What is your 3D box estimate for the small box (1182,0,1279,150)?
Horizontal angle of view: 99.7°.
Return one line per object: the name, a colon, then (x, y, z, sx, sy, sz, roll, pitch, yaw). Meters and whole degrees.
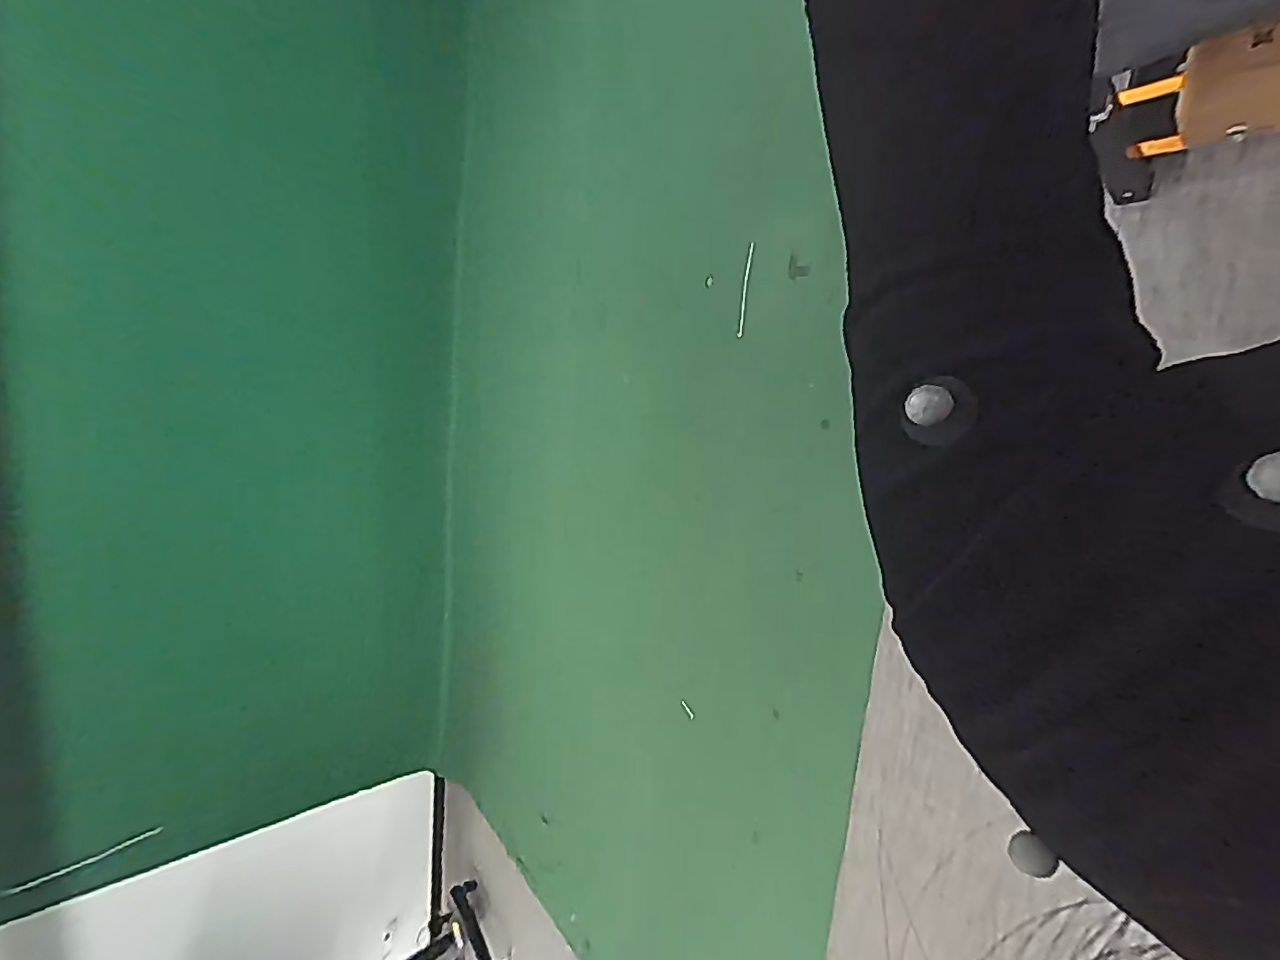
small box: (1.011, -0.670, 0.868, 0.168, 0.176, 0.179, 14, 104, 48)
